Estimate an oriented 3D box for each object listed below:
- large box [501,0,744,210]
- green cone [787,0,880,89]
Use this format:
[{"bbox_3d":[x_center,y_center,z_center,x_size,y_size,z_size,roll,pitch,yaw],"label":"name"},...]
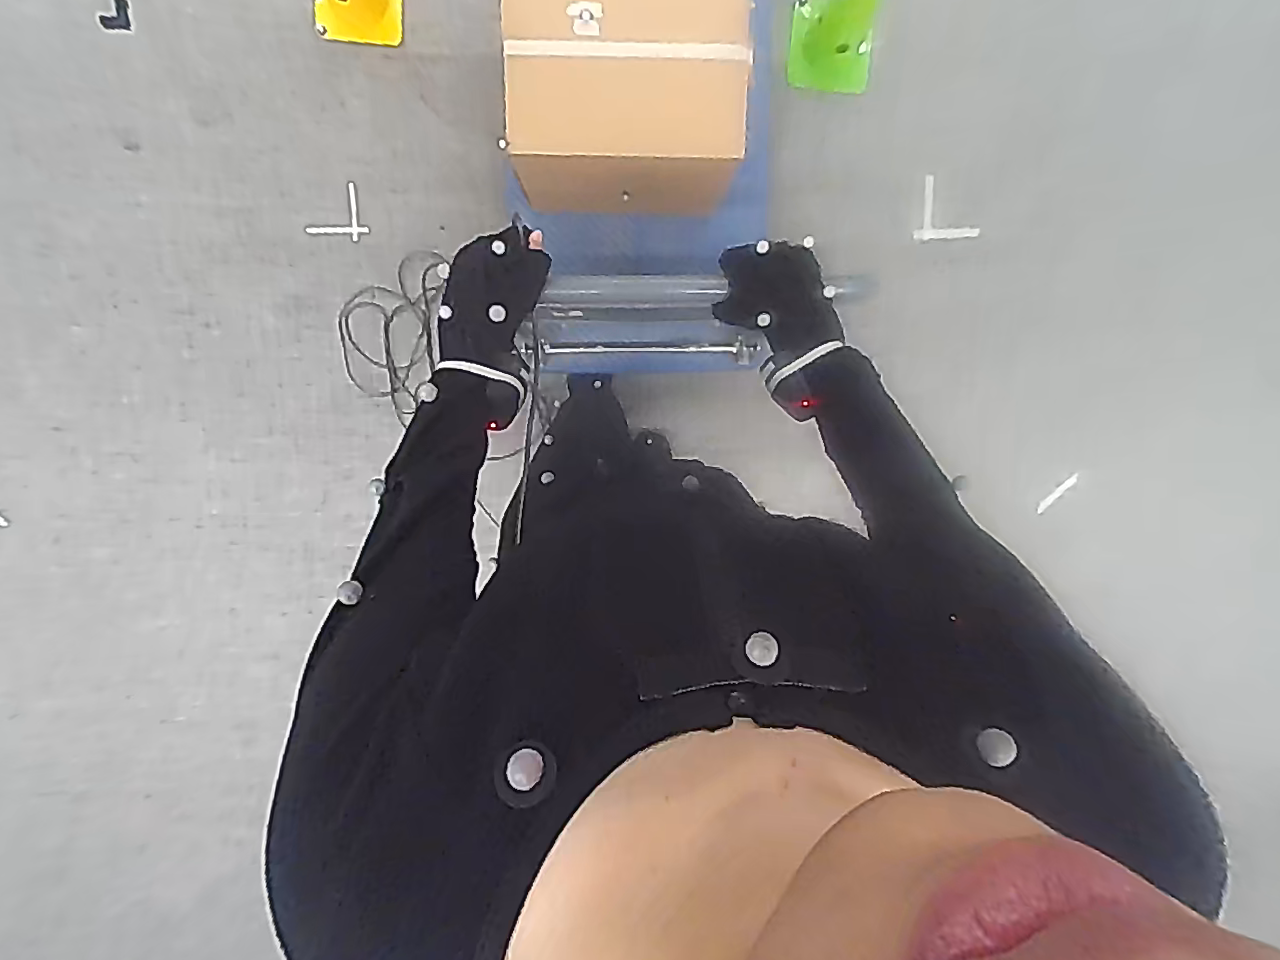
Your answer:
[{"bbox_3d":[-0.029,-0.727,1.038,0.408,0.320,0.320,0,99,-2],"label":"large box"},{"bbox_3d":[0.474,-1.047,1.154,0.202,0.368,0.200,4,99,-4],"label":"green cone"}]
